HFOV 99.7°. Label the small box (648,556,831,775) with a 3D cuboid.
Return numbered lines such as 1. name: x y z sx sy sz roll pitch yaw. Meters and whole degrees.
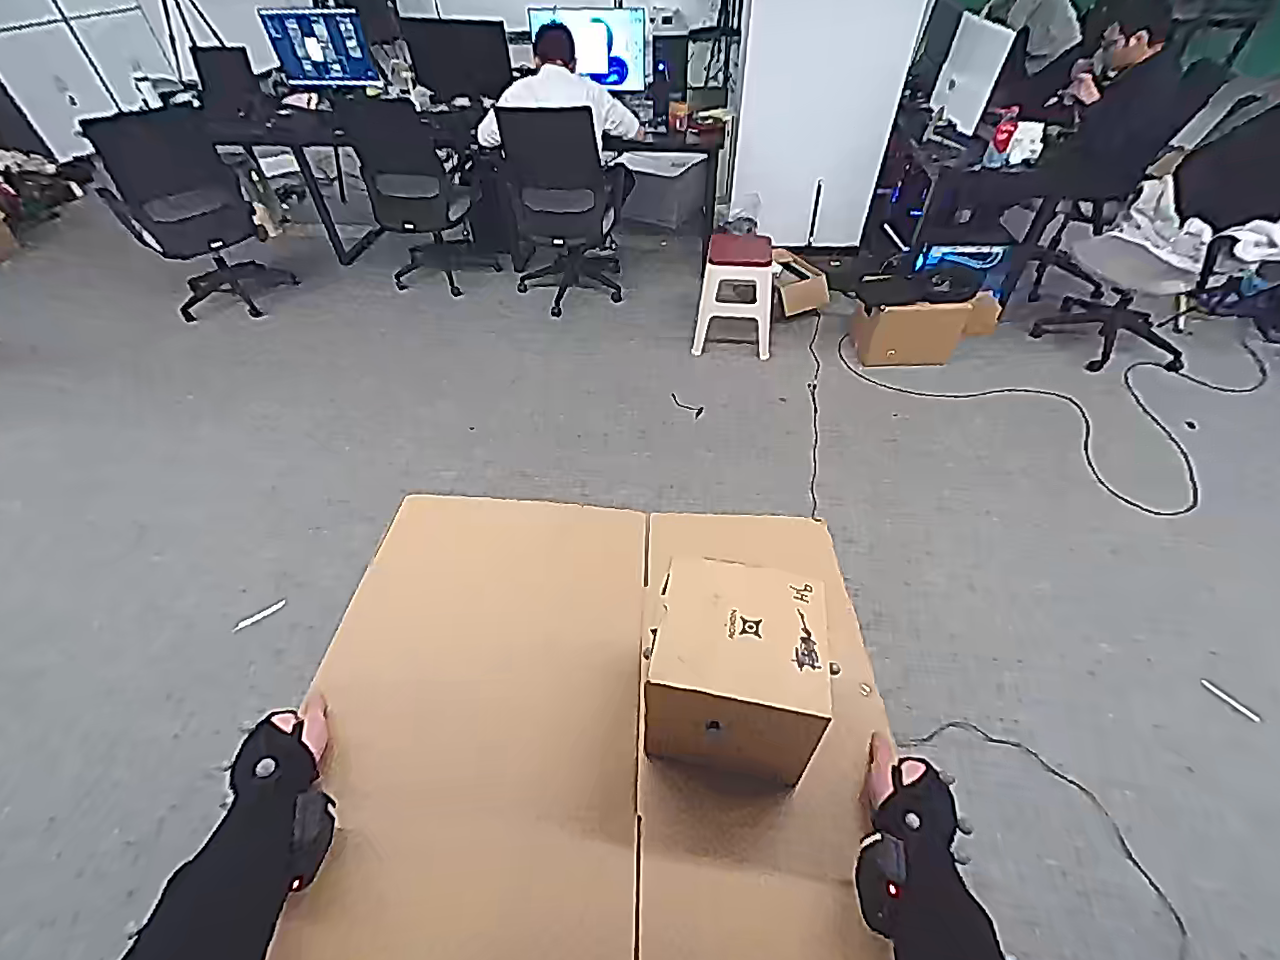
1. small box: 0.110 0.213 0.623 0.179 0.176 0.168 7 43 9
